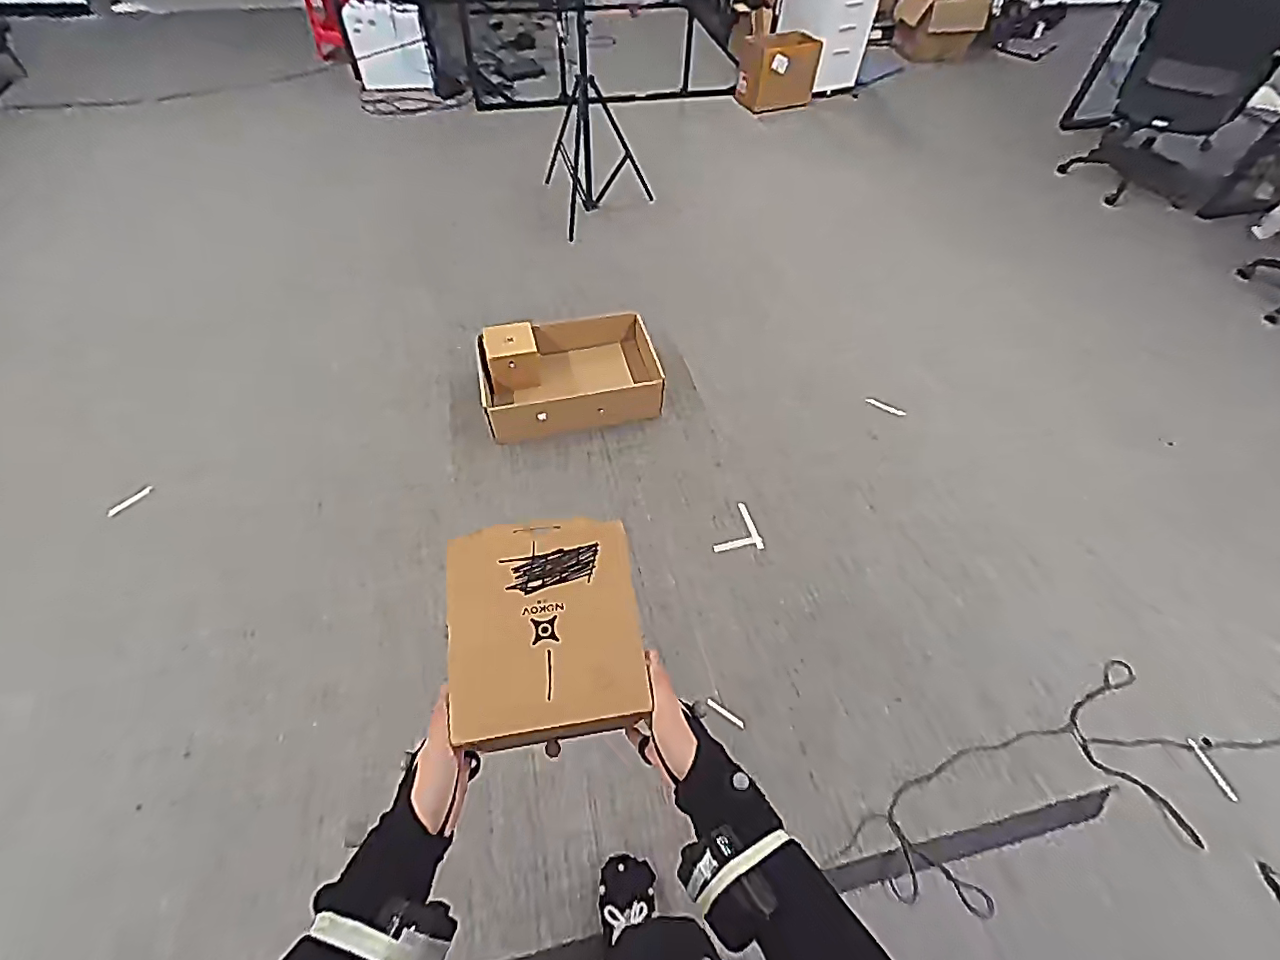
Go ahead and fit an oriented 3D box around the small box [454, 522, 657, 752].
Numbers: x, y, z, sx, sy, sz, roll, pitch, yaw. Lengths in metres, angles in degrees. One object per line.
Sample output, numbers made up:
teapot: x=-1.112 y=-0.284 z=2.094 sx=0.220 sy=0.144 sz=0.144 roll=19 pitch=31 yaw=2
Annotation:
small box: x=-0.088 y=0.161 z=0.543 sx=0.168 sy=0.176 sz=0.179 roll=-6 pitch=62 yaw=-10
